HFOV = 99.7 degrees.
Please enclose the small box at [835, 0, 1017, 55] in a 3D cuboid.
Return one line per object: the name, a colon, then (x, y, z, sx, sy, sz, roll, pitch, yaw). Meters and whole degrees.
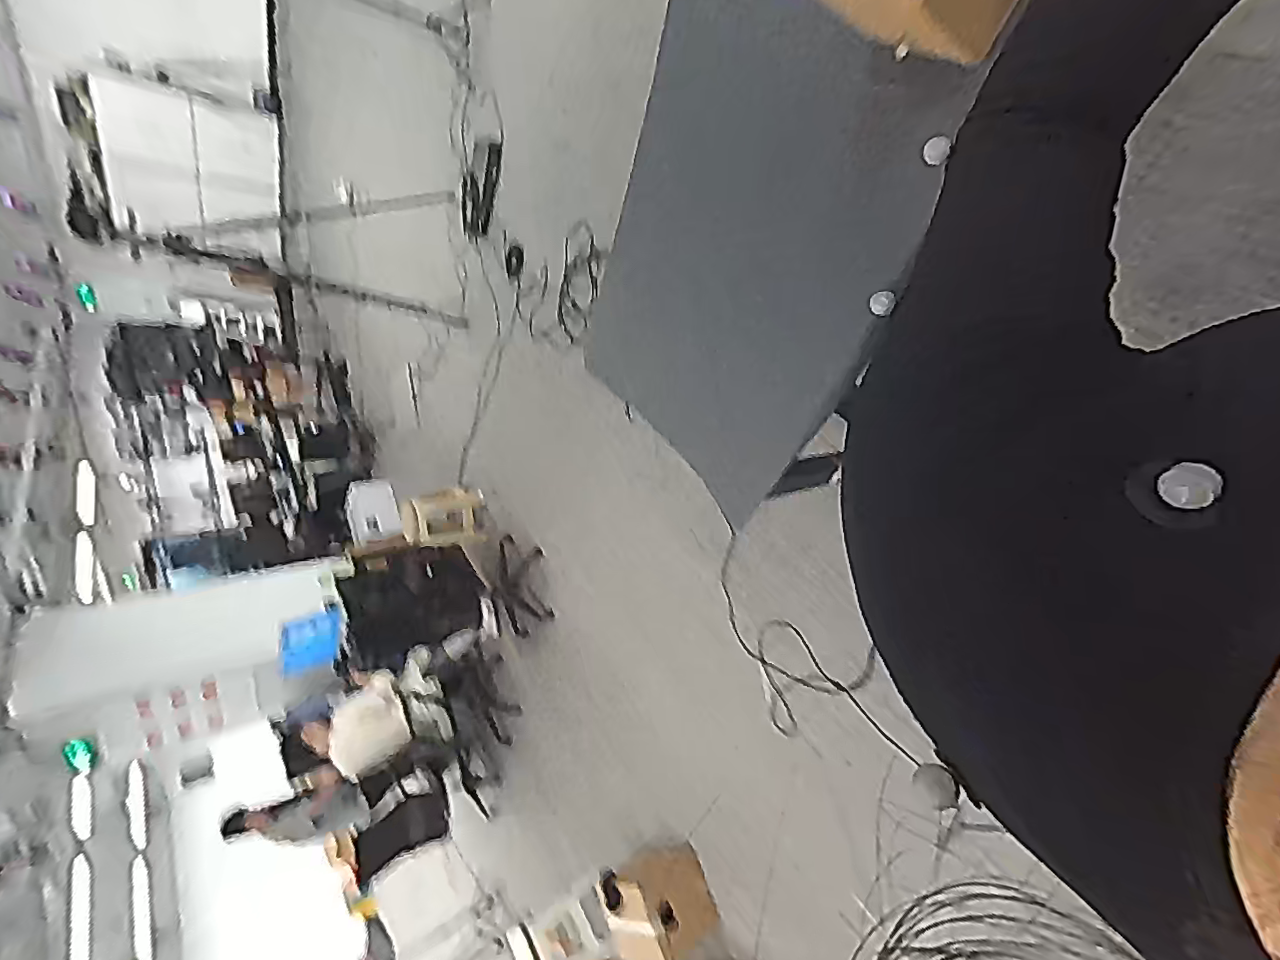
small box: (0.336, -0.606, 0.598, 0.179, 0.176, 0.168, 51, 133, 33)
